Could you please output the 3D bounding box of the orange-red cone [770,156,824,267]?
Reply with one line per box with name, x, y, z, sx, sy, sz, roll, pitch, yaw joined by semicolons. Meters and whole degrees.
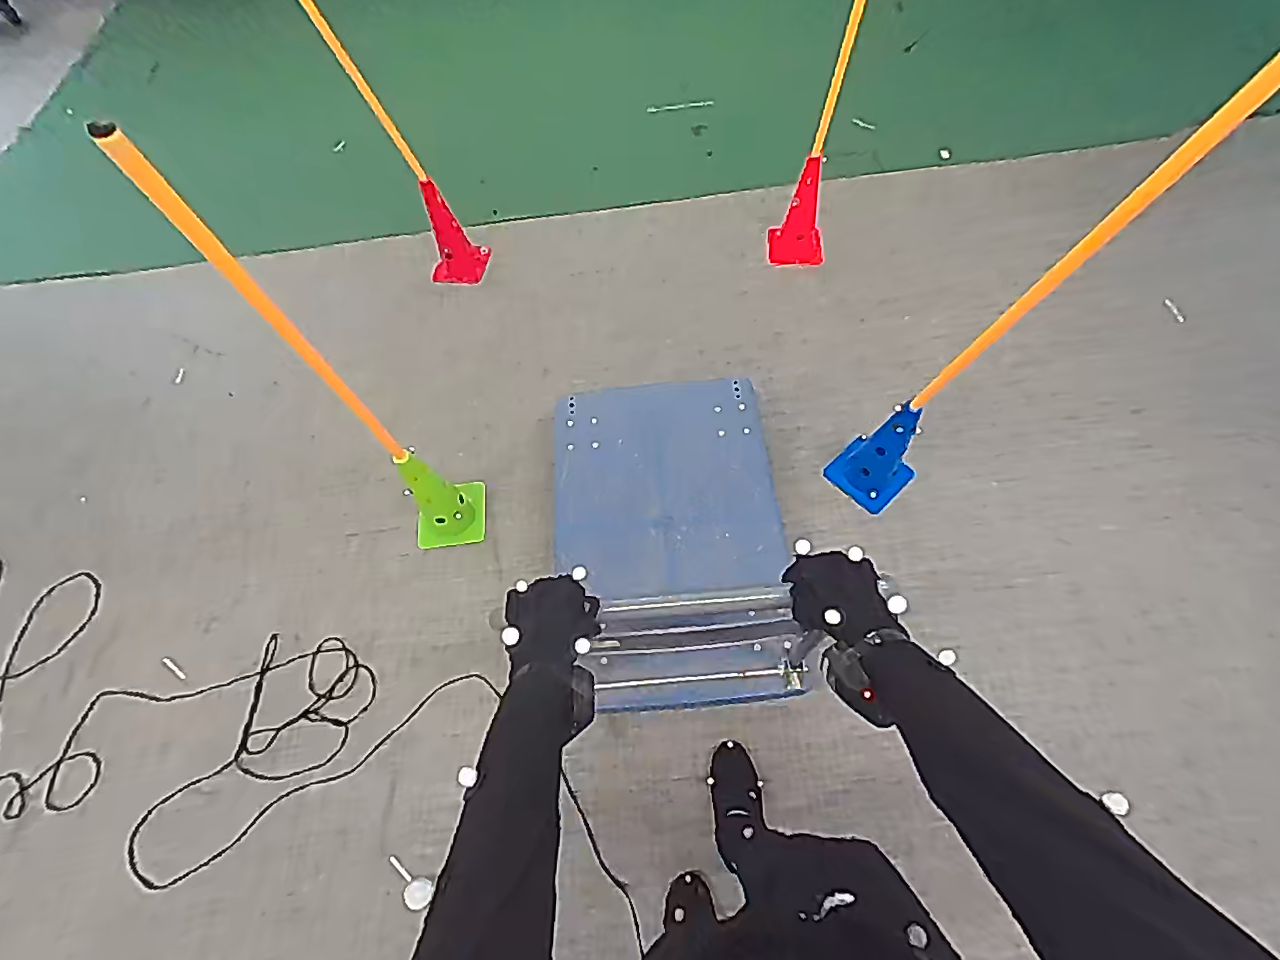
orange-red cone;0.578;-0.953;1.896;0.198;0.360;0.199;3;64;7
